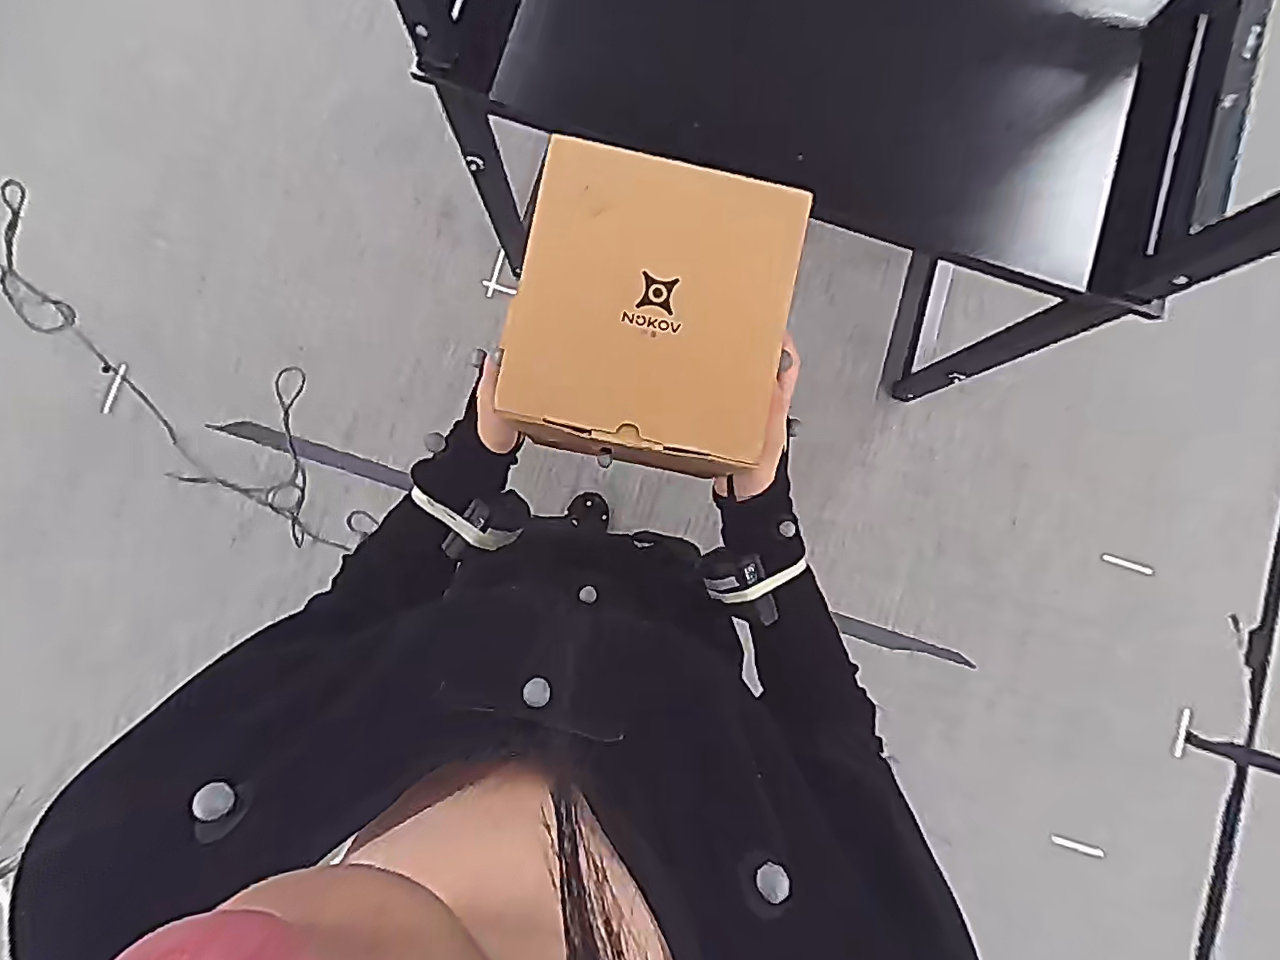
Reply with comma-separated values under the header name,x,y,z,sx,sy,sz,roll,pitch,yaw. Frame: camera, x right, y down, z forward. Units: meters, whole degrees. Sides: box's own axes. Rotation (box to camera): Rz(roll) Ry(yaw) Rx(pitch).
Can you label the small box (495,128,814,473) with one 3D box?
name,x,y,z,sx,sy,sz,roll,pitch,yaw
small box,0.006,-0.107,0.401,0.168,0.176,0.179,11,89,-2
